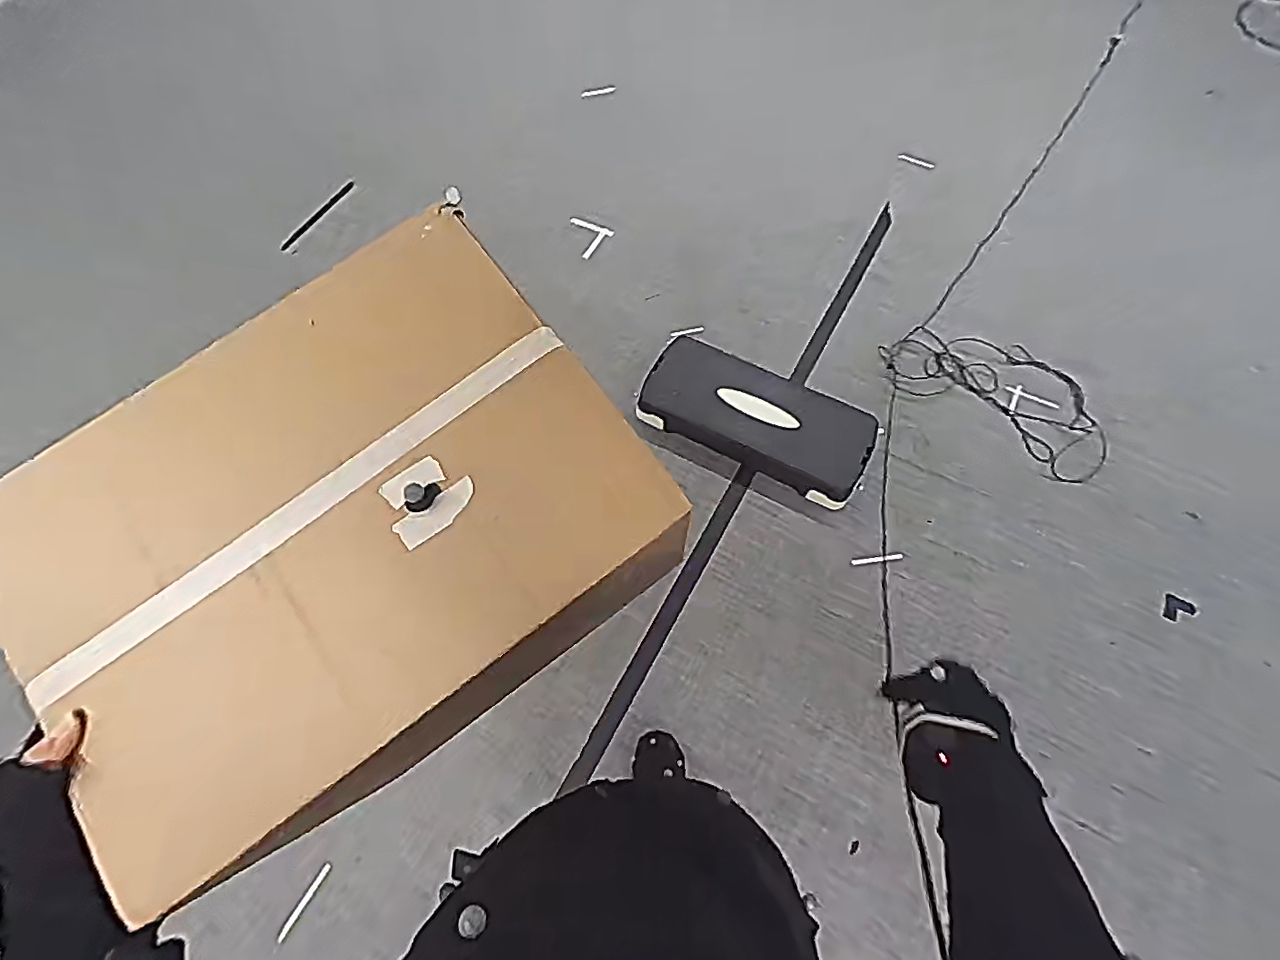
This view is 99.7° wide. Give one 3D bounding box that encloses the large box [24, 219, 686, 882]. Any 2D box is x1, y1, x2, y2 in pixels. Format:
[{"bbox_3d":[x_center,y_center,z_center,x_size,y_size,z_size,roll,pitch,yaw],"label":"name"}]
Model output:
[{"bbox_3d":[-0.205,0.055,0.529,0.408,0.320,0.320,-36,76,-7],"label":"large box"}]
